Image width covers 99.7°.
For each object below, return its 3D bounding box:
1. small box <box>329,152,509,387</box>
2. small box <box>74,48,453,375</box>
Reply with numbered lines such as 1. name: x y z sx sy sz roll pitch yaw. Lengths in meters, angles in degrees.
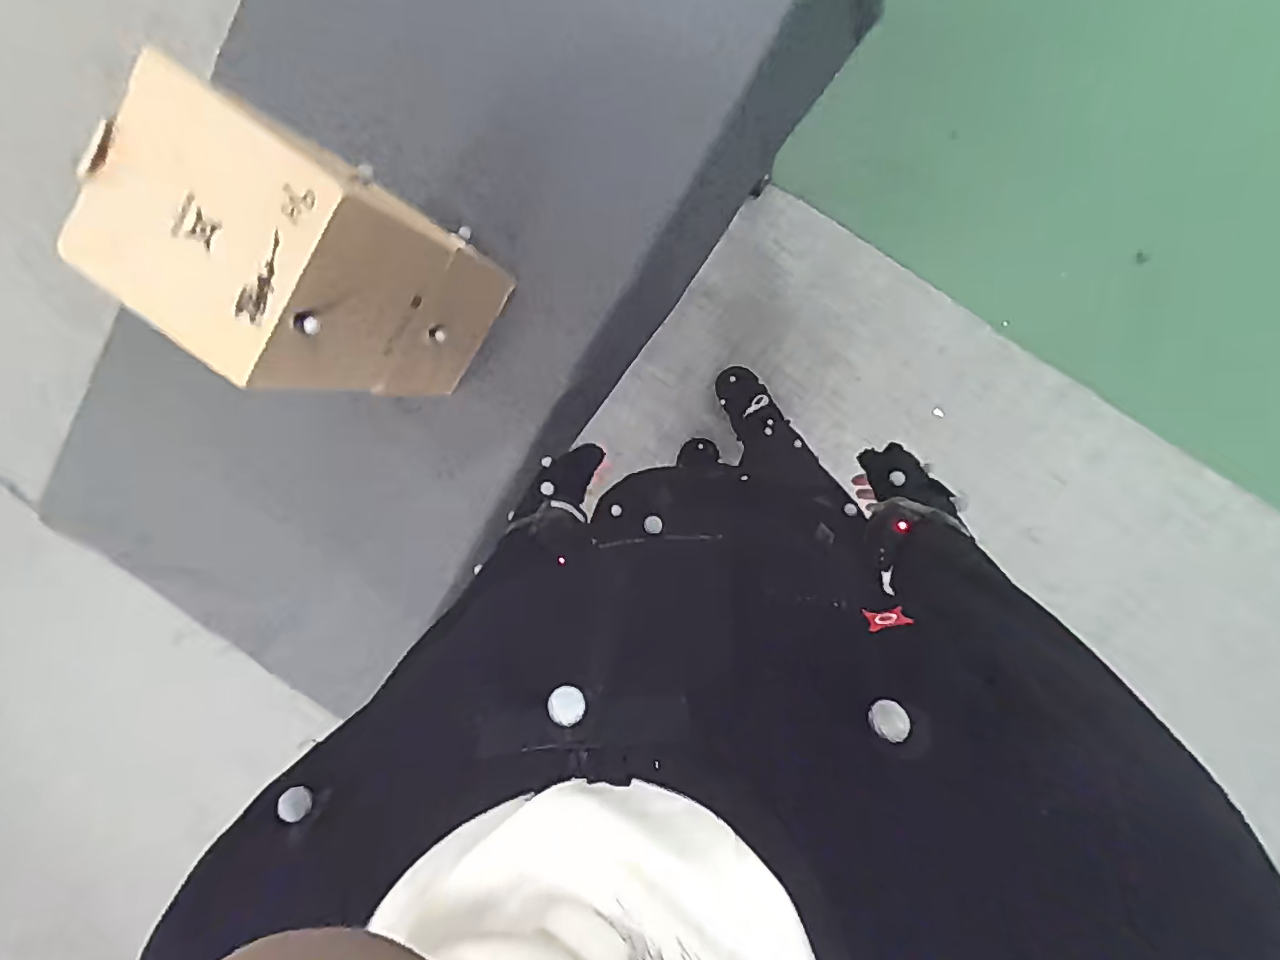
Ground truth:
1. small box: -0.280 -0.222 0.629 0.168 0.176 0.179 35 100 2
2. small box: -0.303 -0.203 0.470 0.179 0.176 0.168 33 100 1
